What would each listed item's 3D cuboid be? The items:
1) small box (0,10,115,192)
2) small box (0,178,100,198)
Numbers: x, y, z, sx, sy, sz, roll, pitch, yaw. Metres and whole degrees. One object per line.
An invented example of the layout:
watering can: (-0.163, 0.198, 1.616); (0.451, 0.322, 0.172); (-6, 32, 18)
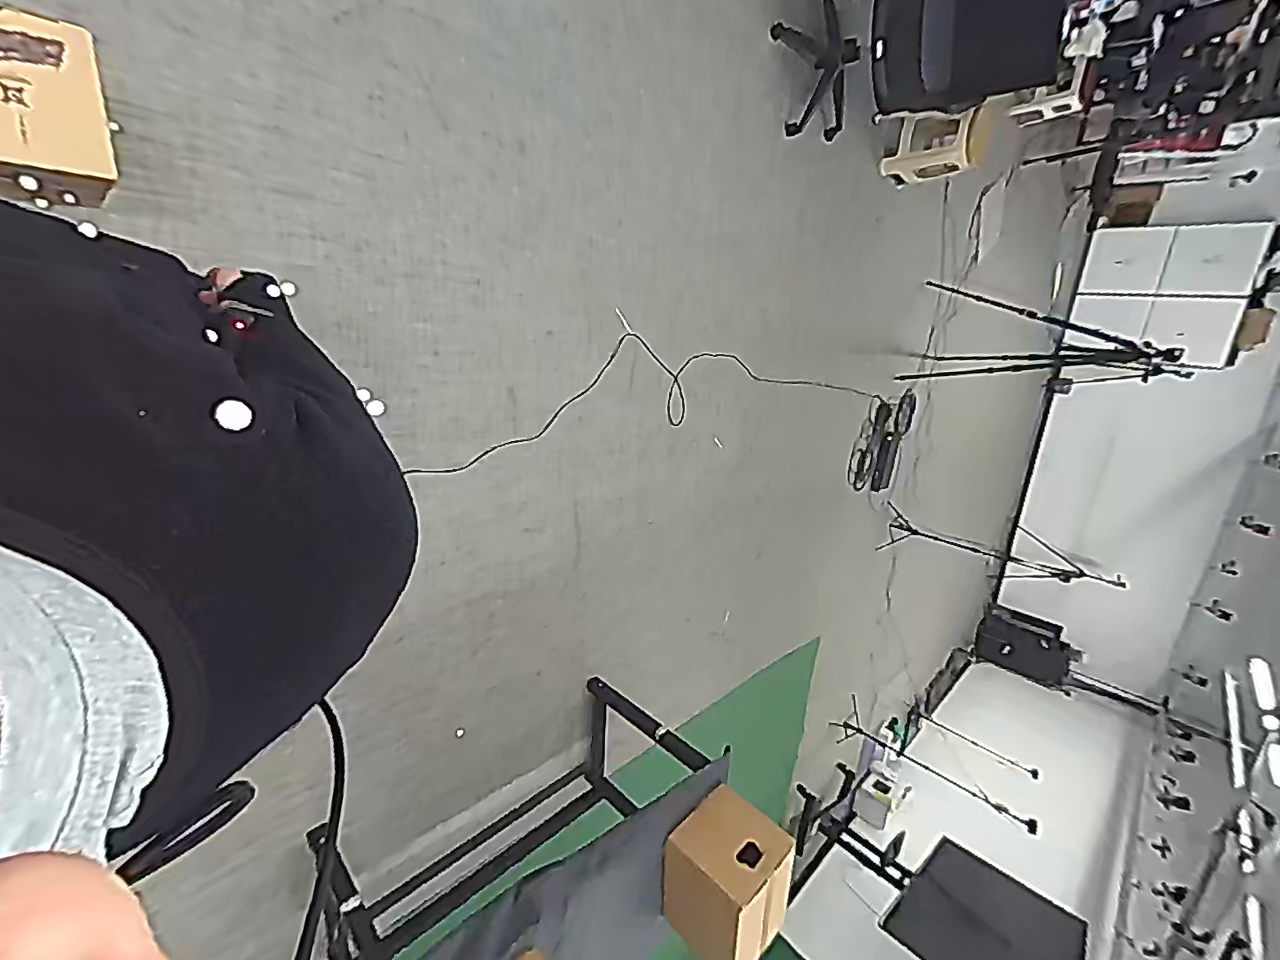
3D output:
small box: (-0.822, -0.492, 0.706); (0.168, 0.176, 0.179); (-13, 116, -44)
small box: (-0.941, -0.535, 0.811); (0.168, 0.176, 0.179); (-15, 115, -44)
